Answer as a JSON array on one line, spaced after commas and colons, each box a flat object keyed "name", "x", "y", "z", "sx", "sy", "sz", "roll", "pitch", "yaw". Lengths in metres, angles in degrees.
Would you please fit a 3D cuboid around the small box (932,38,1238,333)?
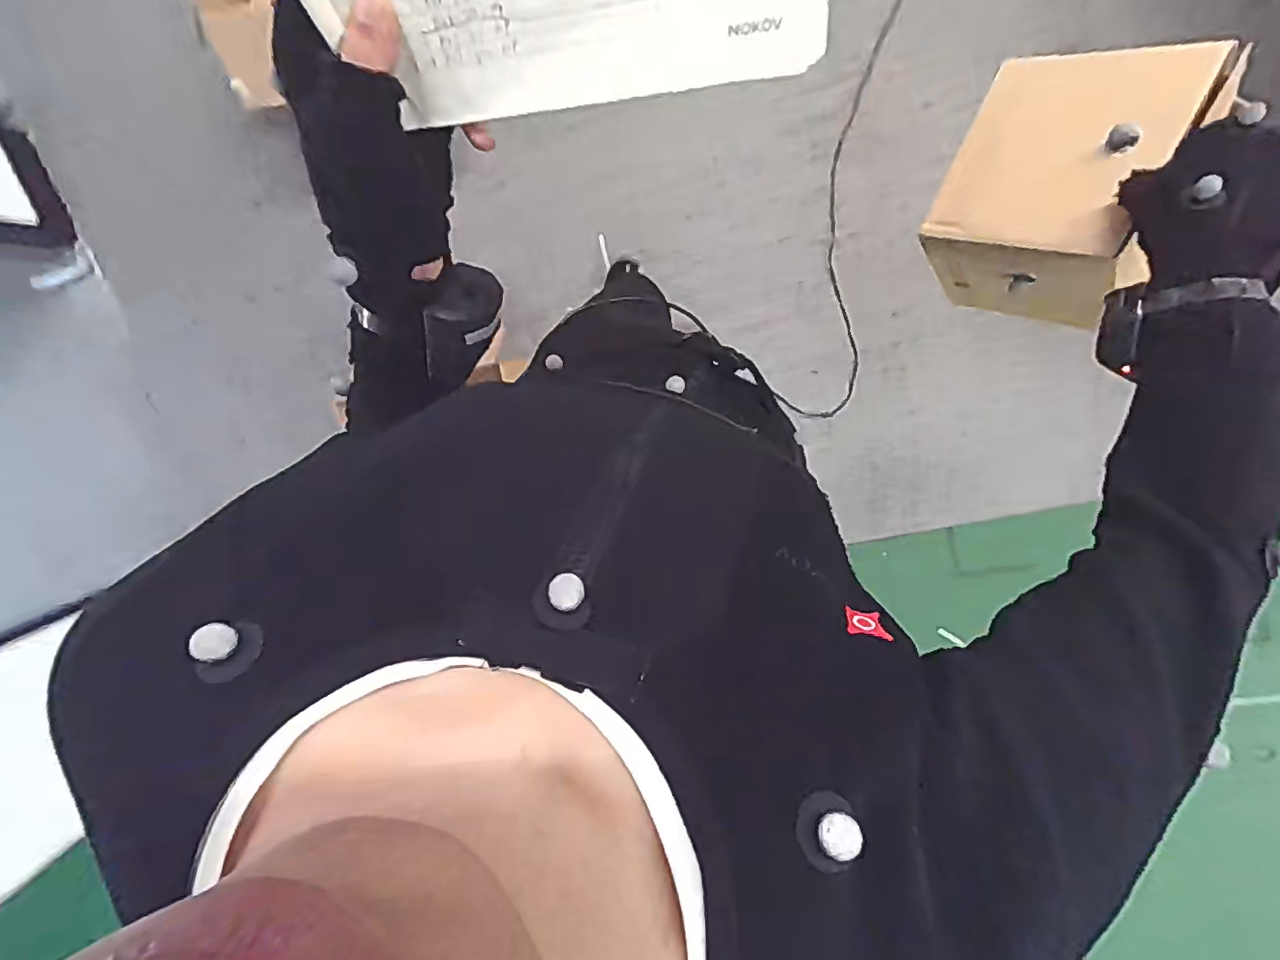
[{"name": "small box", "x": 0.411, "y": -0.273, "z": 0.529, "sx": 0.176, "sy": 0.168, "sz": 0.179, "roll": 32, "pitch": 100, "yaw": 41}]
